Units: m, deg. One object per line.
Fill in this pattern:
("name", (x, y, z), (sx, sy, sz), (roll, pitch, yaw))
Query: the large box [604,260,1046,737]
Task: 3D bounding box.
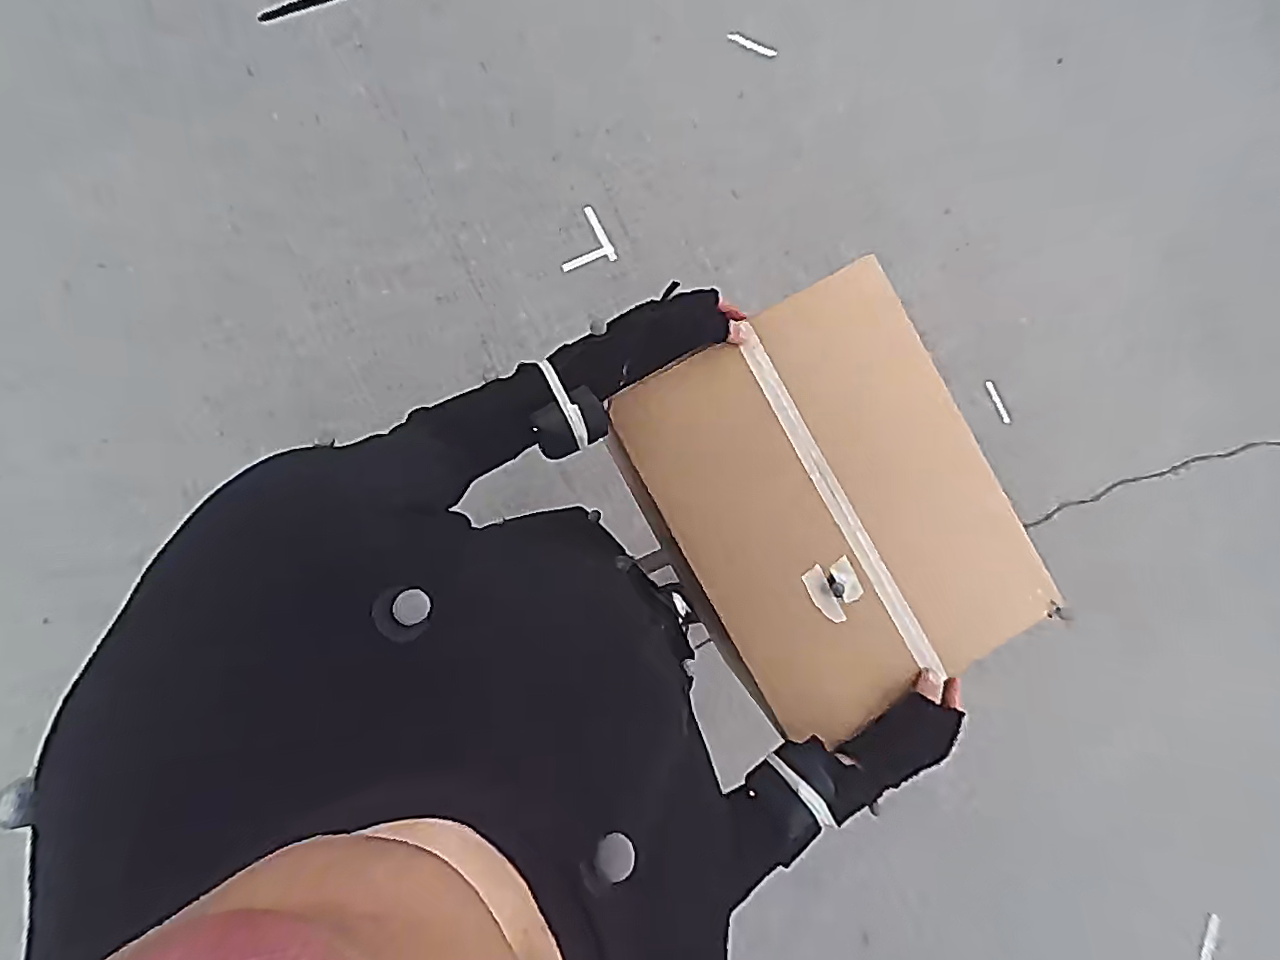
("large box", (0.184, 0.017, 0.696), (0.320, 0.320, 0.408), (-30, 92, -4))
